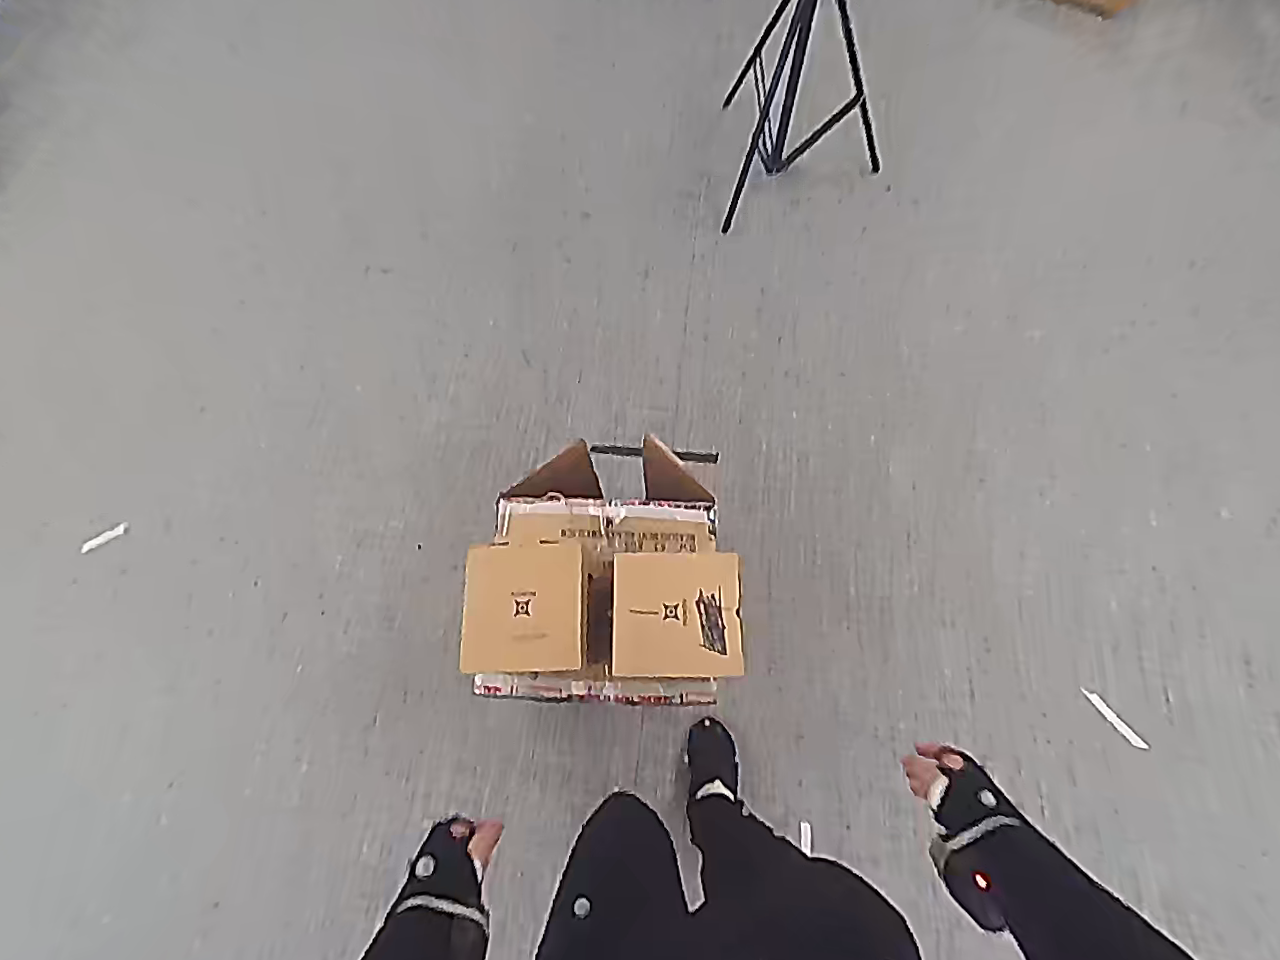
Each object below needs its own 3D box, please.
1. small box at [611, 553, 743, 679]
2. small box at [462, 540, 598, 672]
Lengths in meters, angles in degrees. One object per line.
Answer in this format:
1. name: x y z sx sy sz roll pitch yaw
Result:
1. small box: 0.050 0.205 0.811 0.179 0.176 0.168 0 72 1
2. small box: -0.156 0.195 0.823 0.168 0.176 0.179 -4 74 3
